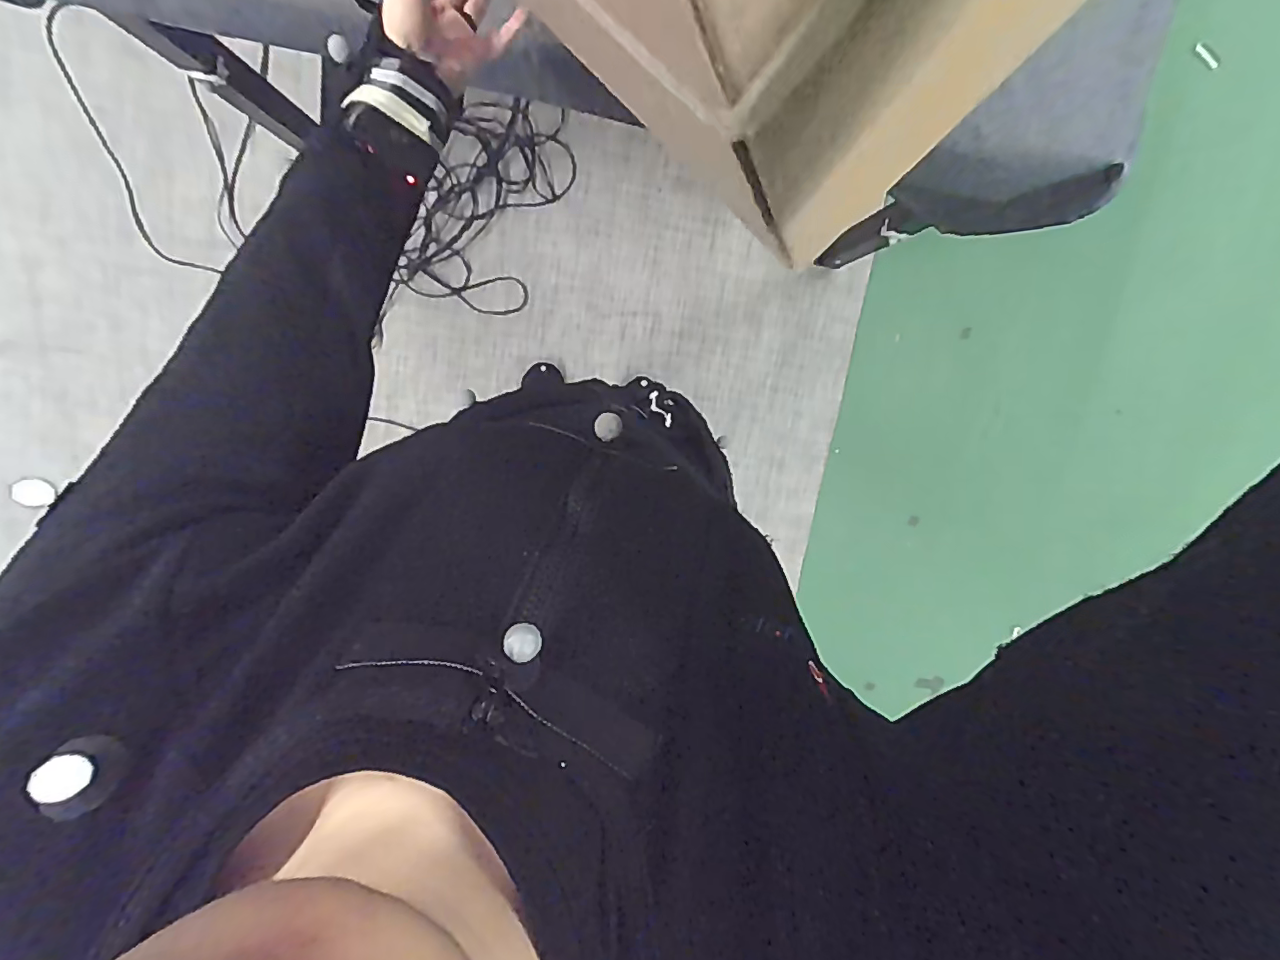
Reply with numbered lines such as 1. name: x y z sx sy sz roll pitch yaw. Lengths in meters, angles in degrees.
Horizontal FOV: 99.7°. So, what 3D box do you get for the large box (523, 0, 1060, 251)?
1. large box: 0.024 -0.374 0.198 0.320 0.320 0.408 -44 75 17
